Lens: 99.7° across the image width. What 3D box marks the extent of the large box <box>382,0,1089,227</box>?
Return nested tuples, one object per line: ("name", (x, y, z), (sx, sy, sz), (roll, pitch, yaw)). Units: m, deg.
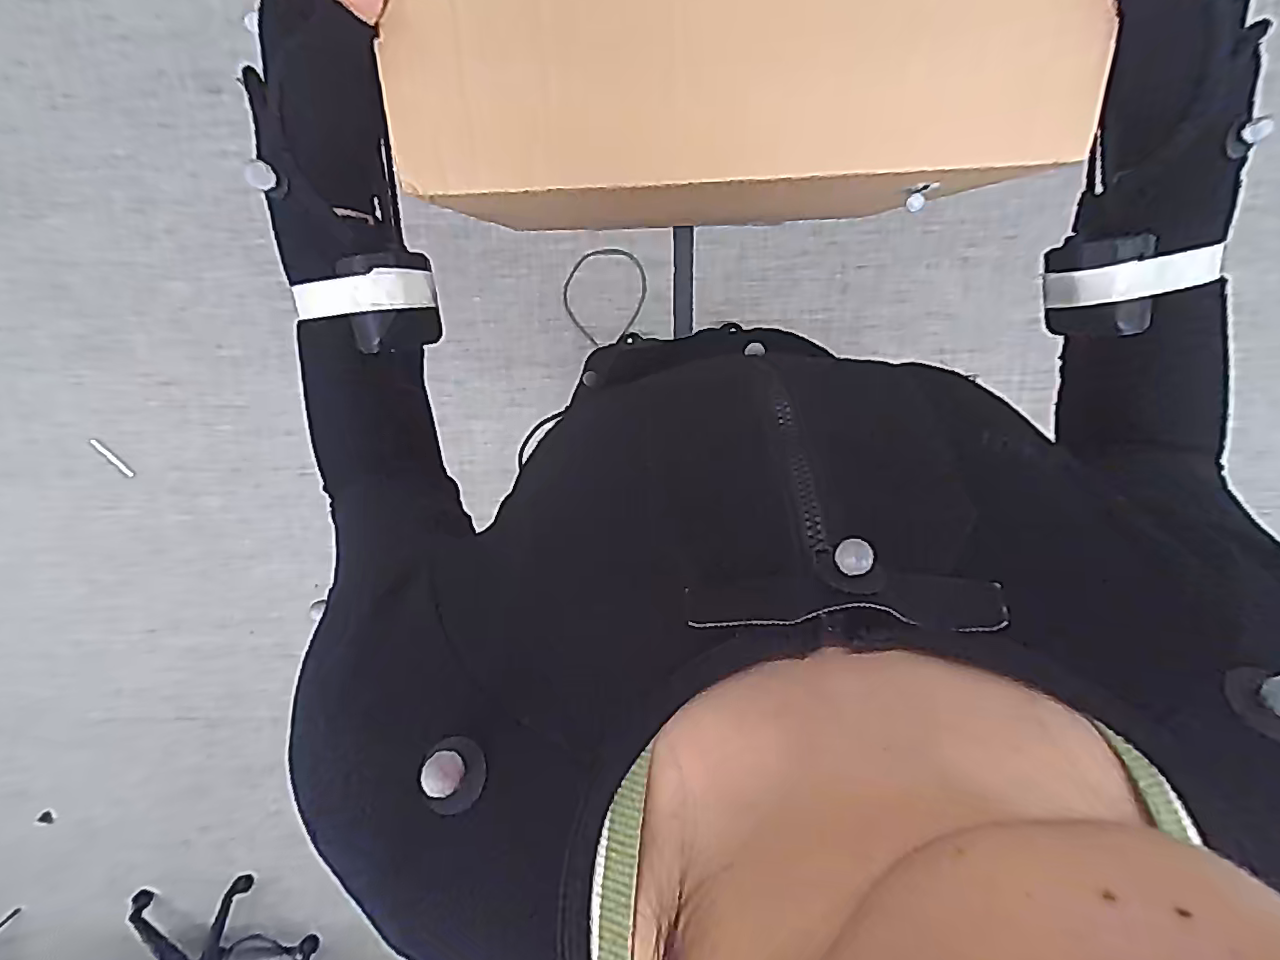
("large box", (0.052, -0.382, 0.418), (0.408, 0.320, 0.320), (-2, 111, 1))
